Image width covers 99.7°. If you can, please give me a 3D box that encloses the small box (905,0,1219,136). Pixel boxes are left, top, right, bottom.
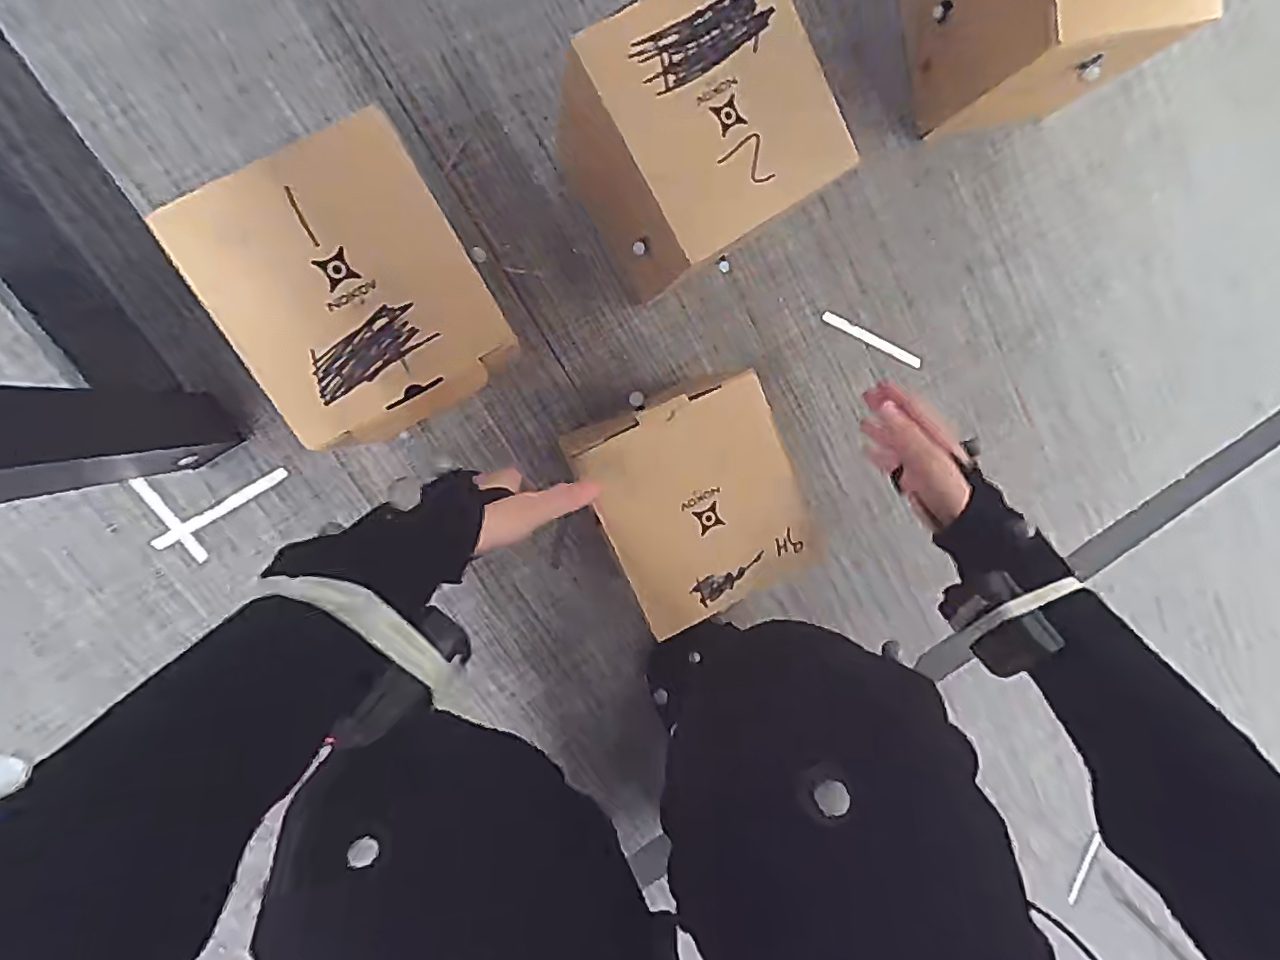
[{"bbox_3d":[0.393,-0.468,0.524,0.179,0.176,0.168,-15,101,-8],"label":"small box"}]
